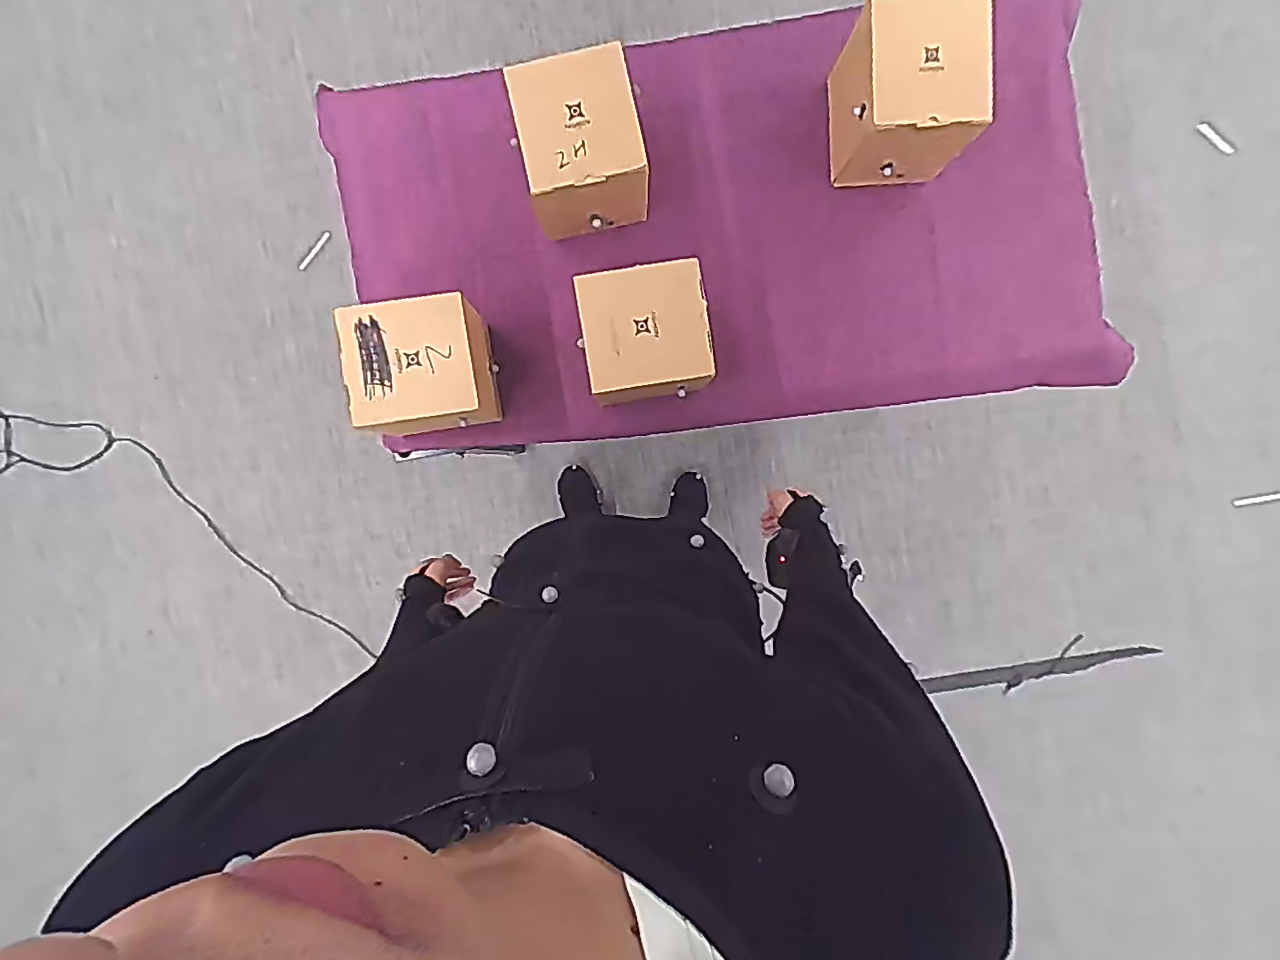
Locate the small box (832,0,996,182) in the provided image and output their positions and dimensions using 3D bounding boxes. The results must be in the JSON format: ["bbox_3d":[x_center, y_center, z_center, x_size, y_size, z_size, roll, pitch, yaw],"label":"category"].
[{"bbox_3d":[0.396,-0.577,0.808,0.168,0.176,0.179,-3,93,1],"label":"small box"}]

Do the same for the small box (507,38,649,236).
[{"bbox_3d":[-0.086,-0.498,0.809,0.168,0.176,0.179,-12,92,1],"label":"small box"}]

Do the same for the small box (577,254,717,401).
[{"bbox_3d":[0.007,-0.219,0.816,0.179,0.176,0.168,-9,91,-1],"label":"small box"}]
